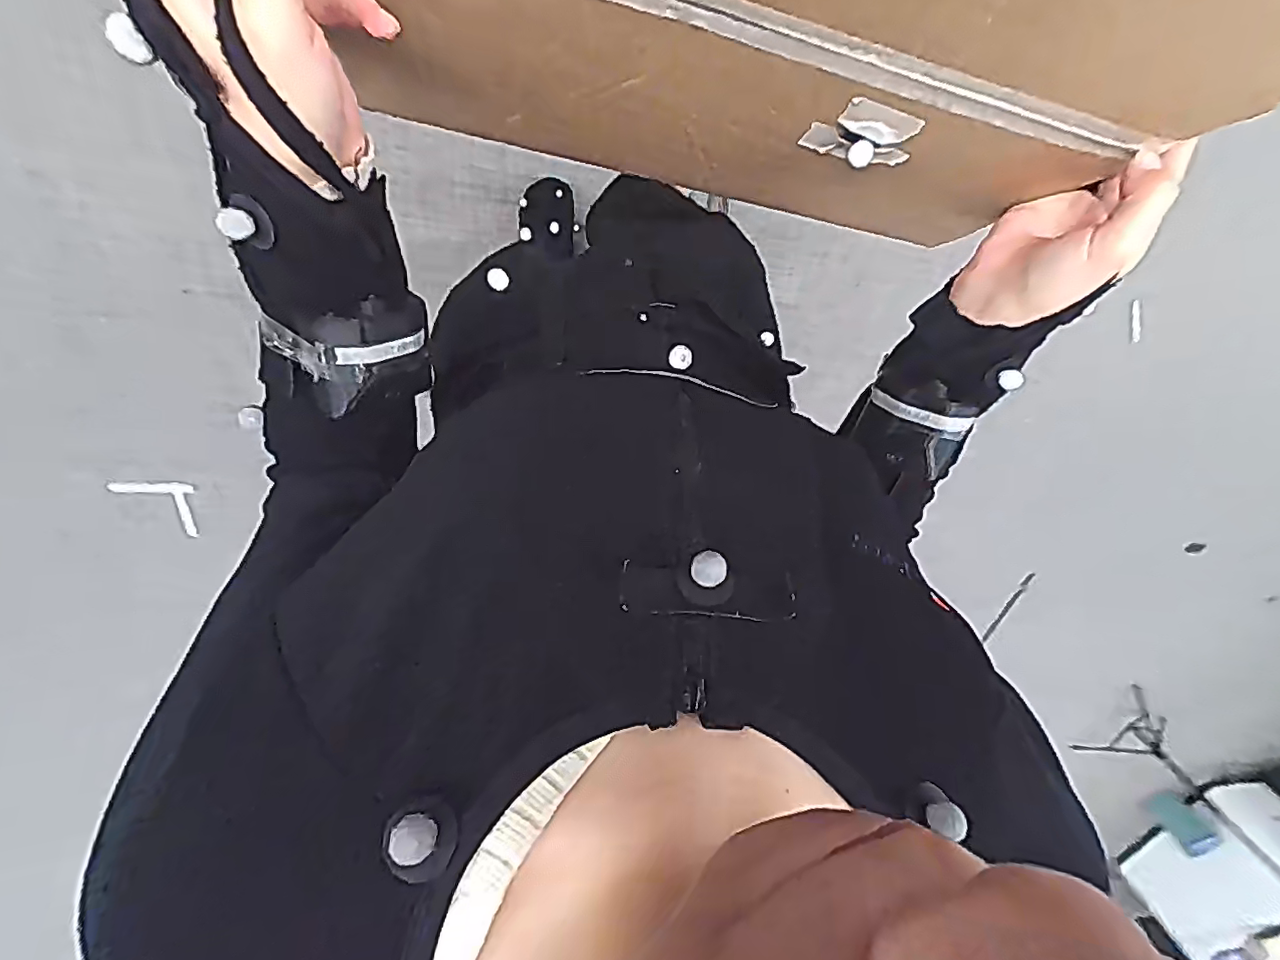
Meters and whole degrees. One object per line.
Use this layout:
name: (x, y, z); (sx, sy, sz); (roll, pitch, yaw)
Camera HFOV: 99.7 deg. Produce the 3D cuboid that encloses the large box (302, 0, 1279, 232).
large box: (0.070, -0.339, 0.211); (0.408, 0.320, 0.320); (5, 96, -13)
